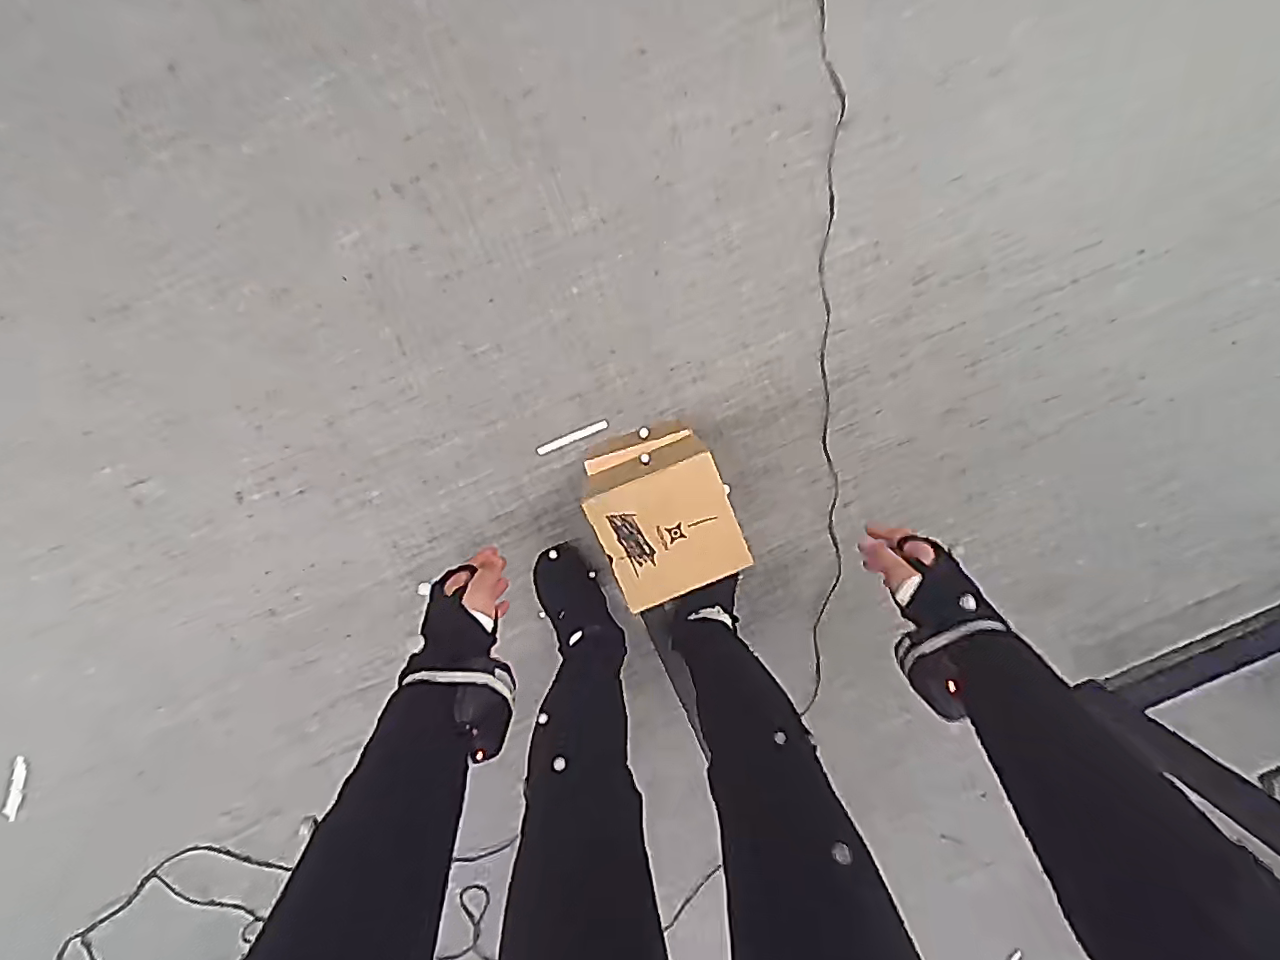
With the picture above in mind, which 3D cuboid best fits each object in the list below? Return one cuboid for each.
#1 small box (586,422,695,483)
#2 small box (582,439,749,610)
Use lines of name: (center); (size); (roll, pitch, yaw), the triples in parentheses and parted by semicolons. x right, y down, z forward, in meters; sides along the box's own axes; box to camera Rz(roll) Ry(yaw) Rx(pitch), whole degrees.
small box: (0.013, 0.005, 0.930); (0.179, 0.176, 0.168); (-17, 103, 0)
small box: (0.032, 0.053, 0.772); (0.179, 0.176, 0.168); (-22, 102, 2)
